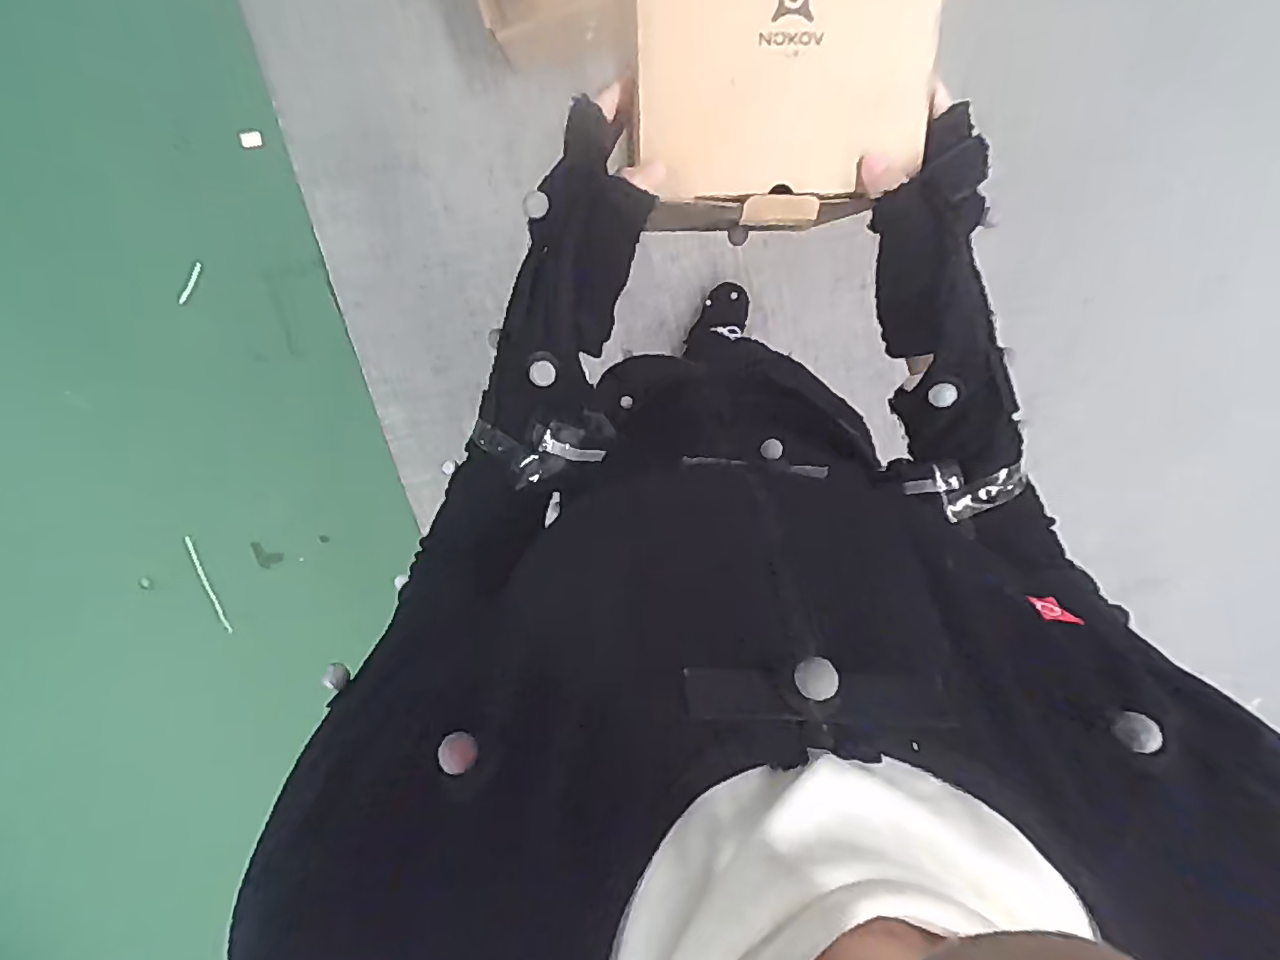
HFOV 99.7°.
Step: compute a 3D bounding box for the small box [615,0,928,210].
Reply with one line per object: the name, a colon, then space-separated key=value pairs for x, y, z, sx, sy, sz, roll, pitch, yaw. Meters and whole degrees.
small box: x=0.070 y=-0.284 z=0.365 sx=0.168 sy=0.176 sz=0.179 roll=-3 pitch=111 yaw=-4
